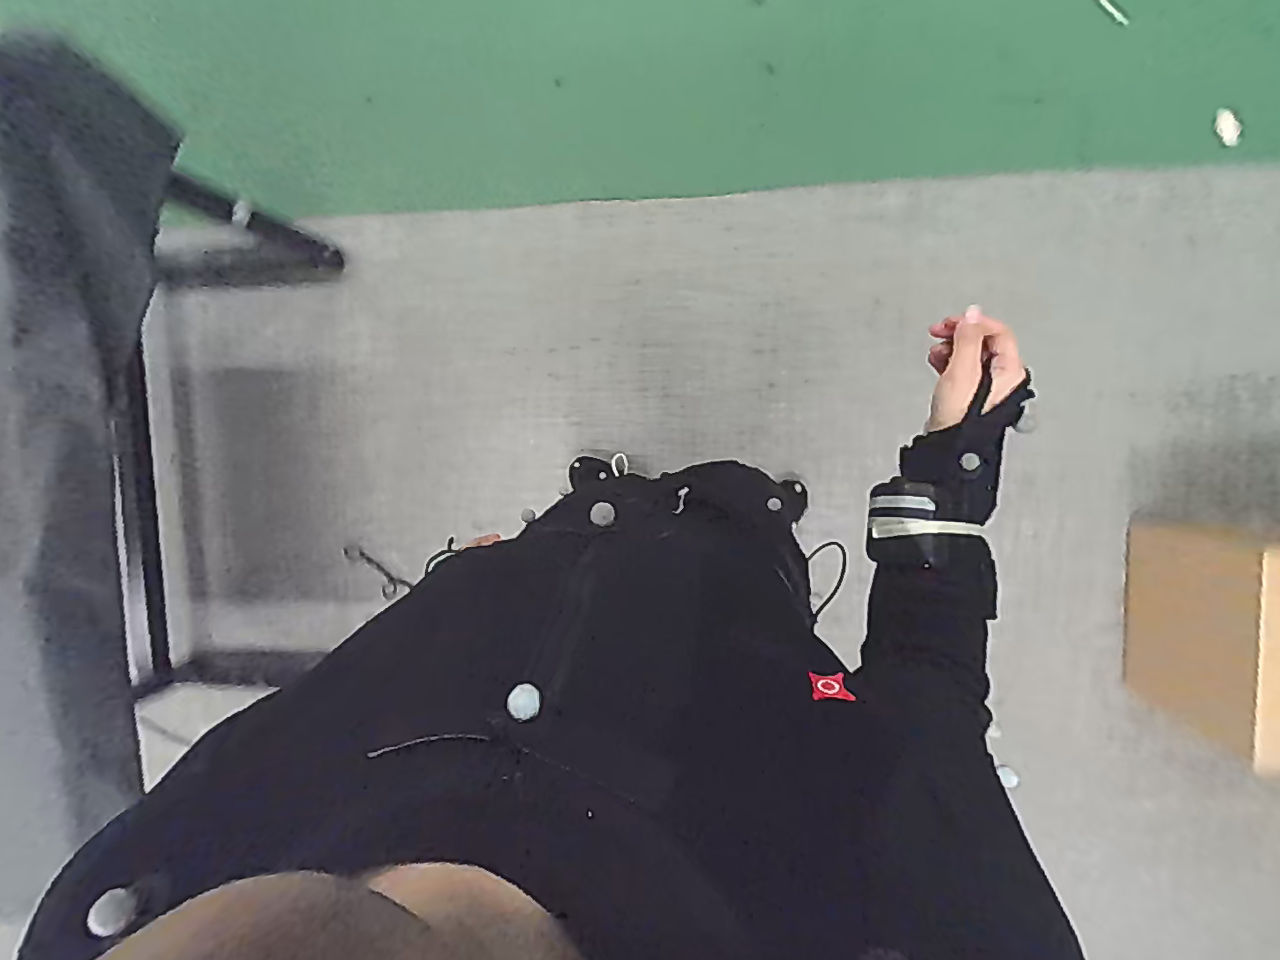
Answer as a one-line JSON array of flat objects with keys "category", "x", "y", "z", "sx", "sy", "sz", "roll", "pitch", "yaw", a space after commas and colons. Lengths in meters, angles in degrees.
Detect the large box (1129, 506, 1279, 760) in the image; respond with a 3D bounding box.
[{"category": "large box", "x": 1.258, "y": 0.280, "z": 1.080, "sx": 0.320, "sy": 0.320, "sz": 0.408, "roll": -3, "pitch": 96, "yaw": 8}]
